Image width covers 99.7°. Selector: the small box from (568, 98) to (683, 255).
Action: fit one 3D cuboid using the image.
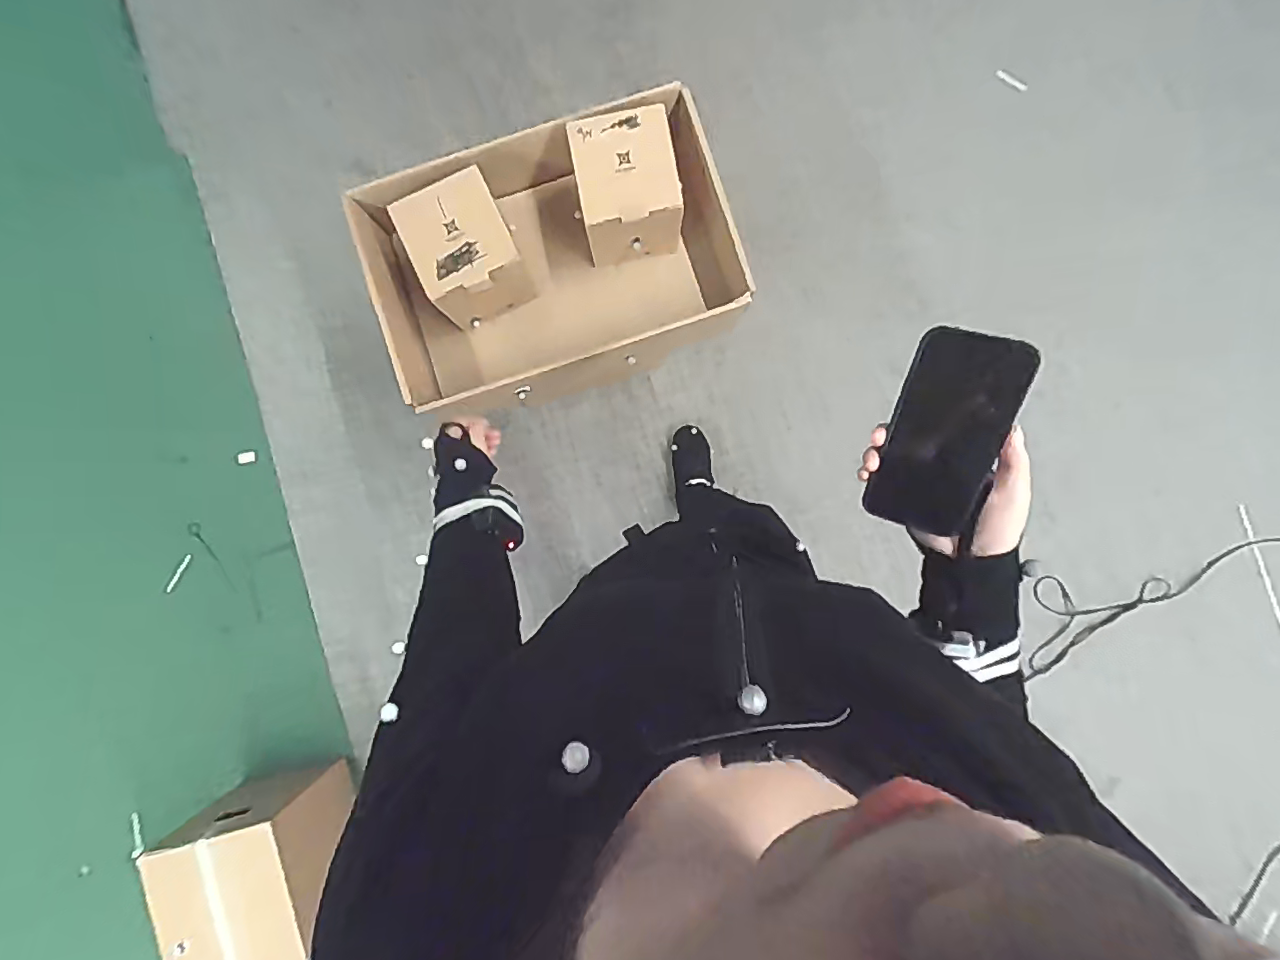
[{"bbox_3d":[-0.020,-0.515,0.948,0.168,0.176,0.179,-11,90,1],"label":"small box"}]
